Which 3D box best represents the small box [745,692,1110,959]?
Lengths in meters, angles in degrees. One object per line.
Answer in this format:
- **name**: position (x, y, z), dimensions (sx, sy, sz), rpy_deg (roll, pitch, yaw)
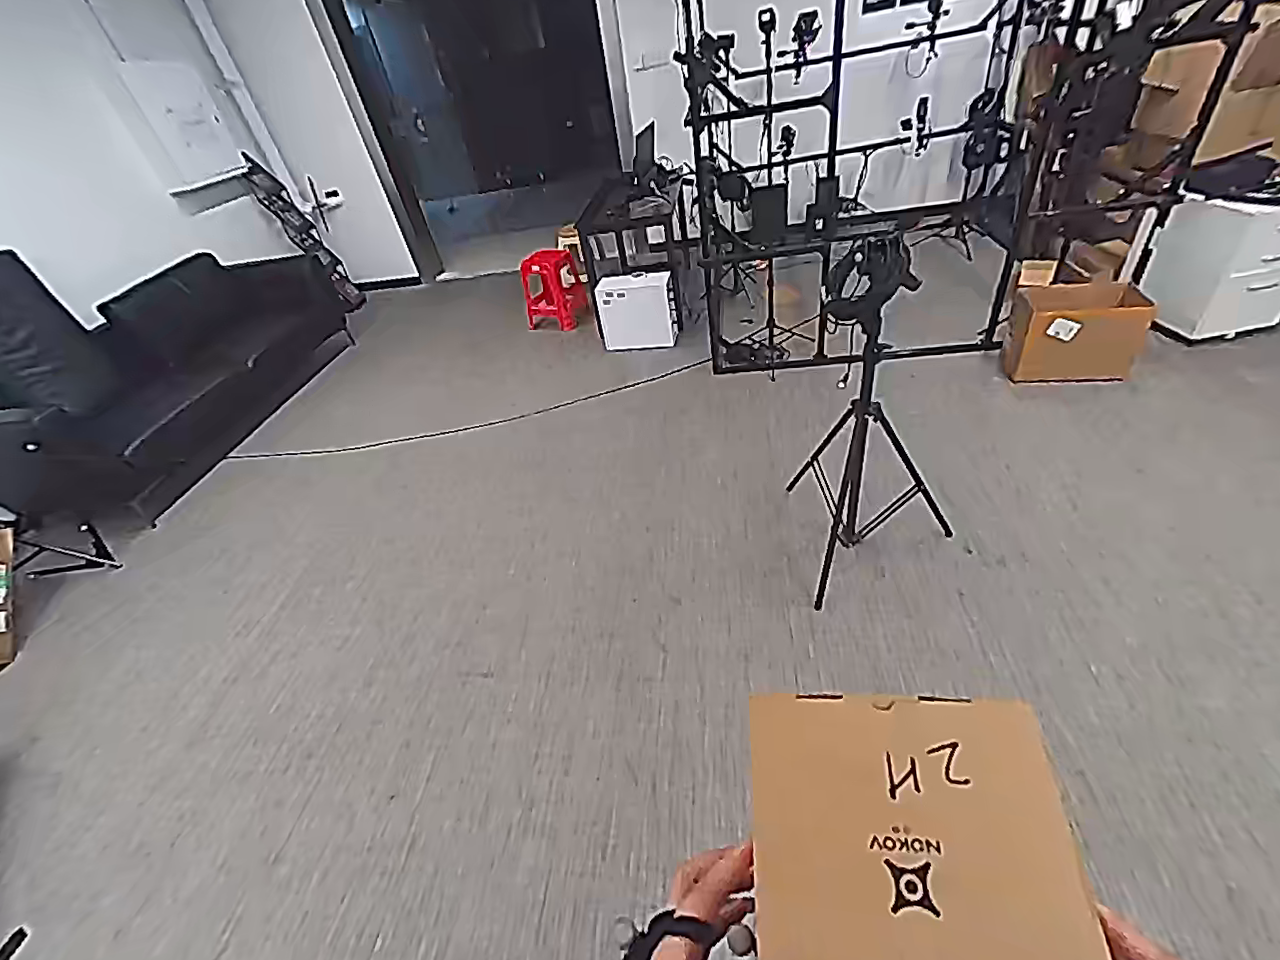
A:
- **small box**: position (0.156, 0.248, 0.344), dimensions (0.168, 0.176, 0.179), rpy_deg (-3, 54, 12)
